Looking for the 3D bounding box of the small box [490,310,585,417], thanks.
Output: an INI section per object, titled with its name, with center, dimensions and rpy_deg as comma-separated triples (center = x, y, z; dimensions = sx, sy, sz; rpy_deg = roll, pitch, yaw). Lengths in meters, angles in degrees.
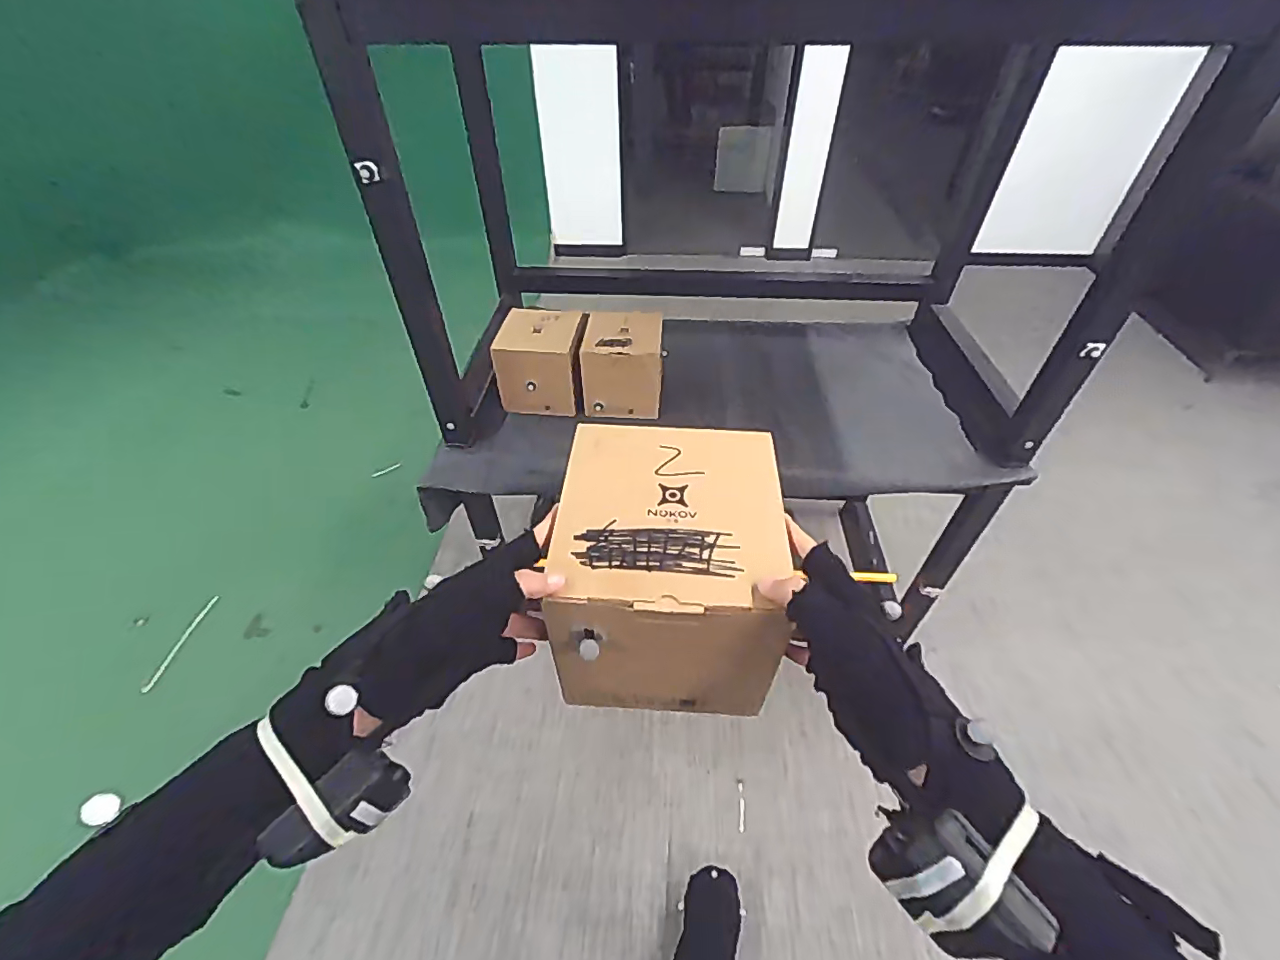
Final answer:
[small box]
center = -0.218, -0.260, 1.213
dimensions = 0.168, 0.176, 0.179
rpy_deg = 5, 45, 4
